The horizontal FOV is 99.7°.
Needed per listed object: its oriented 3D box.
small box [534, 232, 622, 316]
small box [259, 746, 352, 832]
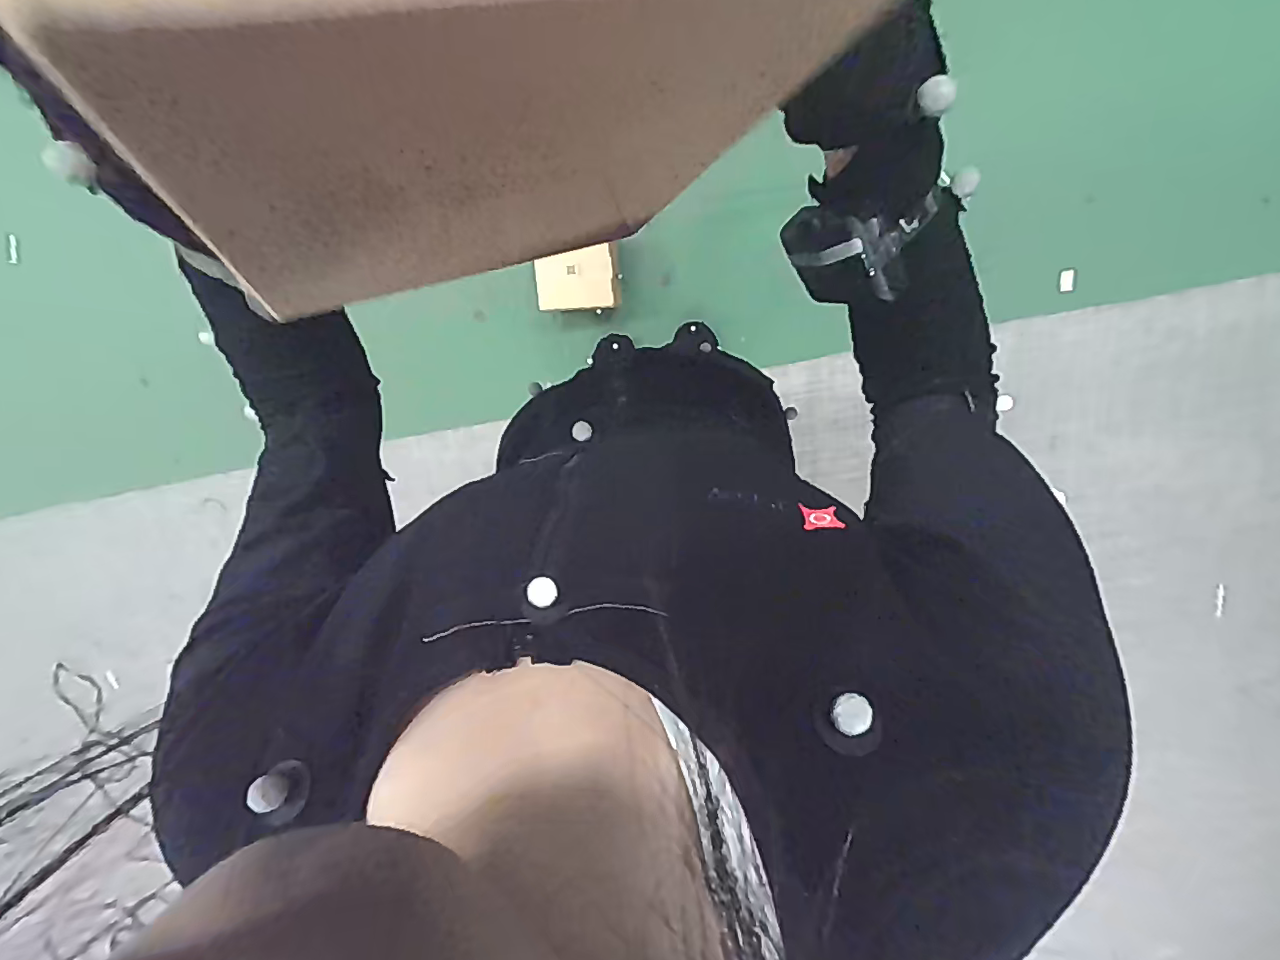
[{"bbox_3d":[-0.141,-0.485,1.293,0.179,0.176,0.168,-3,106,4],"label":"small box"},{"bbox_3d":[-1.088,1.011,1.782,0.179,0.176,0.168,-18,105,9],"label":"small box"}]
